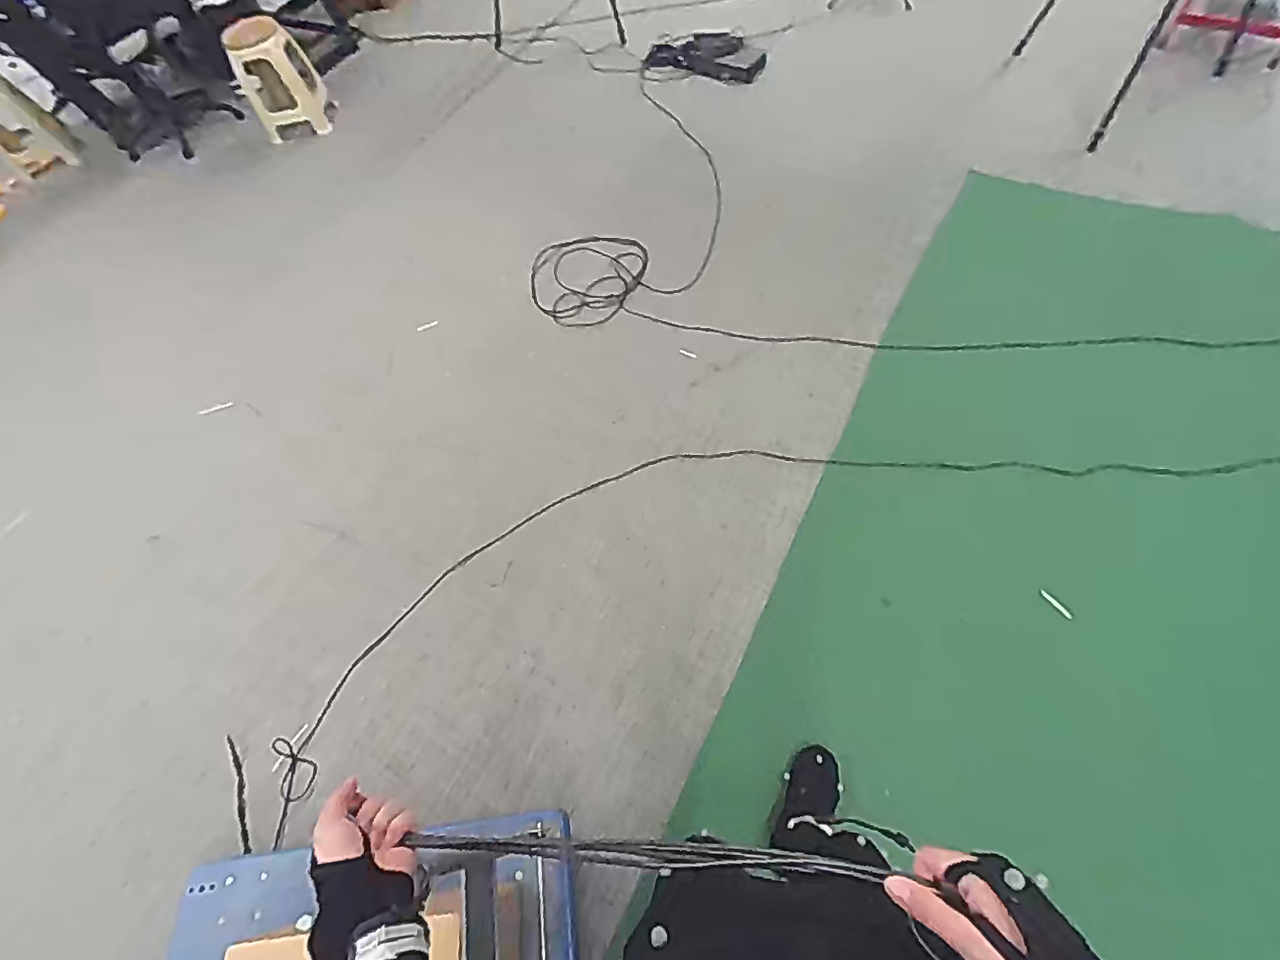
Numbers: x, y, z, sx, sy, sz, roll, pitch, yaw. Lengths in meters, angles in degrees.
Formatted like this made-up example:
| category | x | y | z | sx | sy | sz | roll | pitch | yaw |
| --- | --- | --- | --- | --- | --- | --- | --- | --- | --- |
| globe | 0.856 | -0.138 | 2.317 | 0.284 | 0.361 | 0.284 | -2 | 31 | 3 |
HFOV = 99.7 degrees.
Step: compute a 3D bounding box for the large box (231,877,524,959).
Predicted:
| category | x | y | z | sx | sy | sz | roll | pitch | yaw |
| --- | --- | --- | --- | --- | --- | --- | --- | --- | --- |
| large box | -0.437 | 0.935 | 0.943 | 0.408 | 0.320 | 0.320 | -11 | 60 | 3 |
